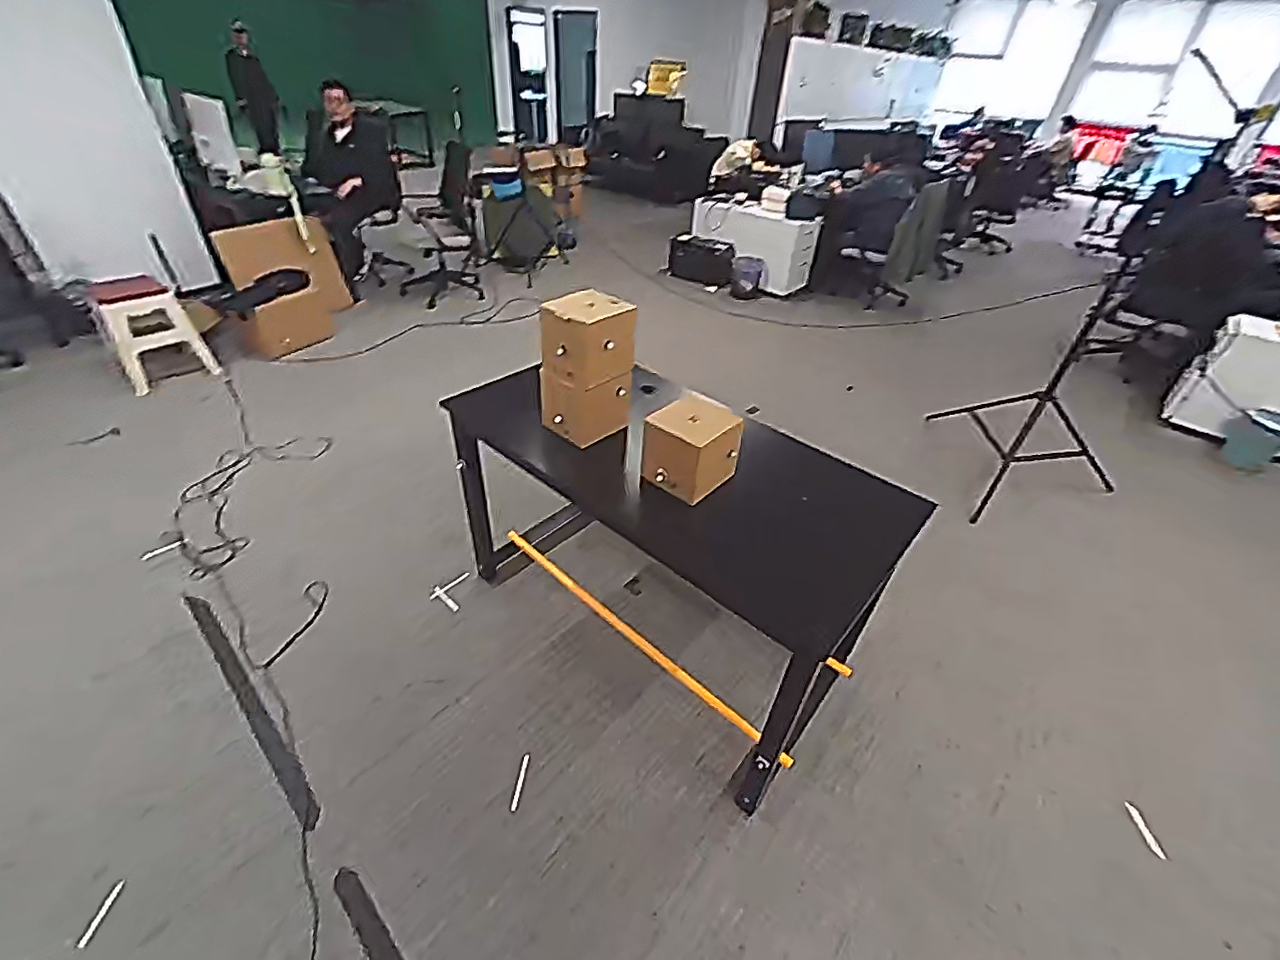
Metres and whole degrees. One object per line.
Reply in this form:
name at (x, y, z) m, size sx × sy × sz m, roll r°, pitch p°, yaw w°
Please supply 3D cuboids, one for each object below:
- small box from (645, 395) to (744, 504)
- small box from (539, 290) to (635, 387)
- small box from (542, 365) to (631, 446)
small box at (0.122, -0.075, 1.292) m, size 0.168 × 0.176 × 0.179 m, roll 29°, pitch 45°, yaw 30°
small box at (-0.129, -0.352, 1.350) m, size 0.168 × 0.176 × 0.179 m, roll 30°, pitch 45°, yaw 29°
small box at (-0.144, -0.218, 1.443) m, size 0.168 × 0.176 × 0.179 m, roll 32°, pitch 46°, yaw 31°
